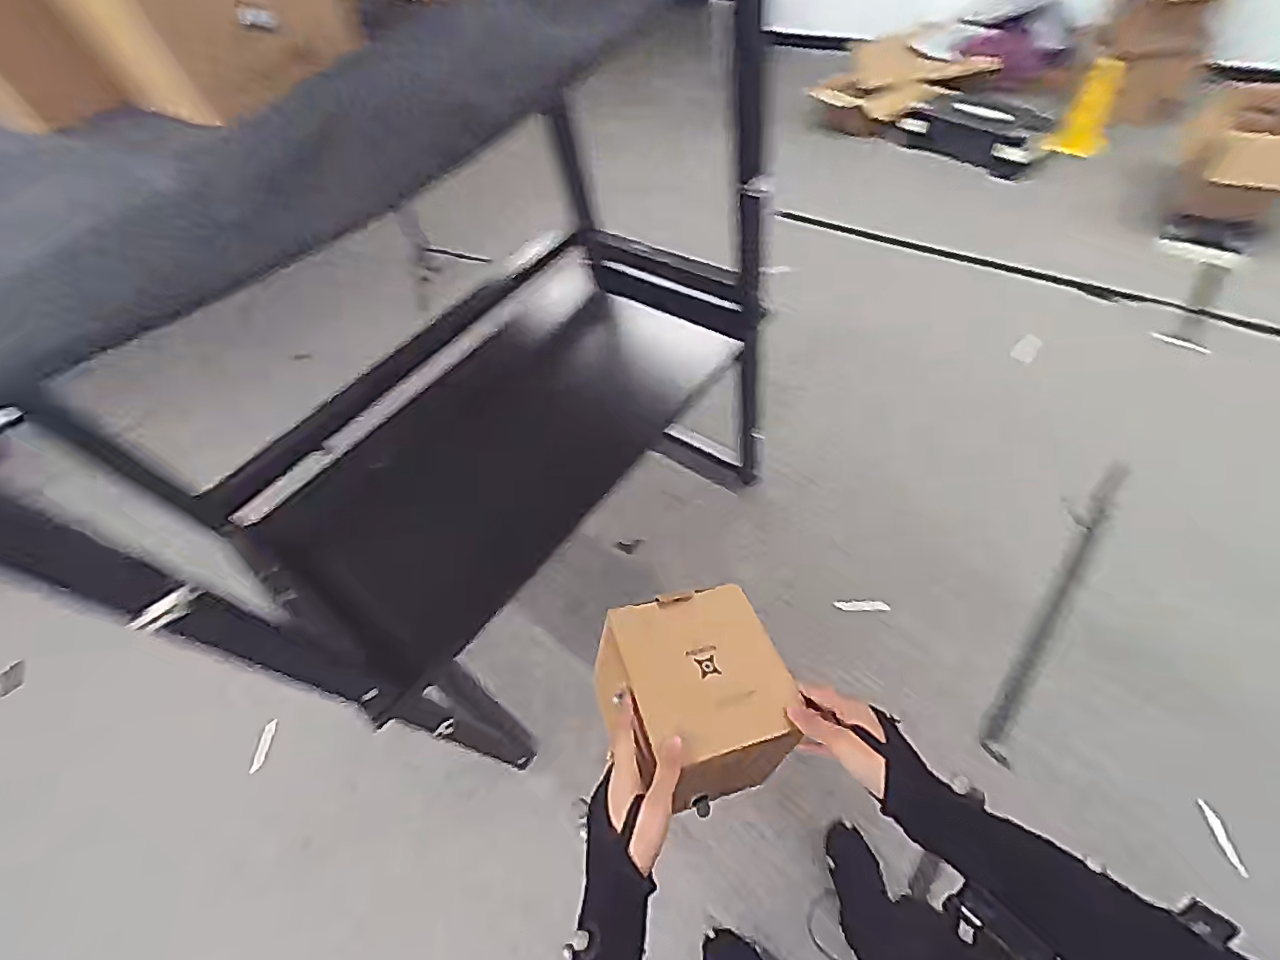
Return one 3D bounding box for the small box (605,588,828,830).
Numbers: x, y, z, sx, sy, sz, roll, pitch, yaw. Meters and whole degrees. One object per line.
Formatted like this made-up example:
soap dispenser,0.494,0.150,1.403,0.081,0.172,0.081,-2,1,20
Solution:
small box,0.066,0.248,0.599,0.168,0.176,0.179,-6,45,-19
